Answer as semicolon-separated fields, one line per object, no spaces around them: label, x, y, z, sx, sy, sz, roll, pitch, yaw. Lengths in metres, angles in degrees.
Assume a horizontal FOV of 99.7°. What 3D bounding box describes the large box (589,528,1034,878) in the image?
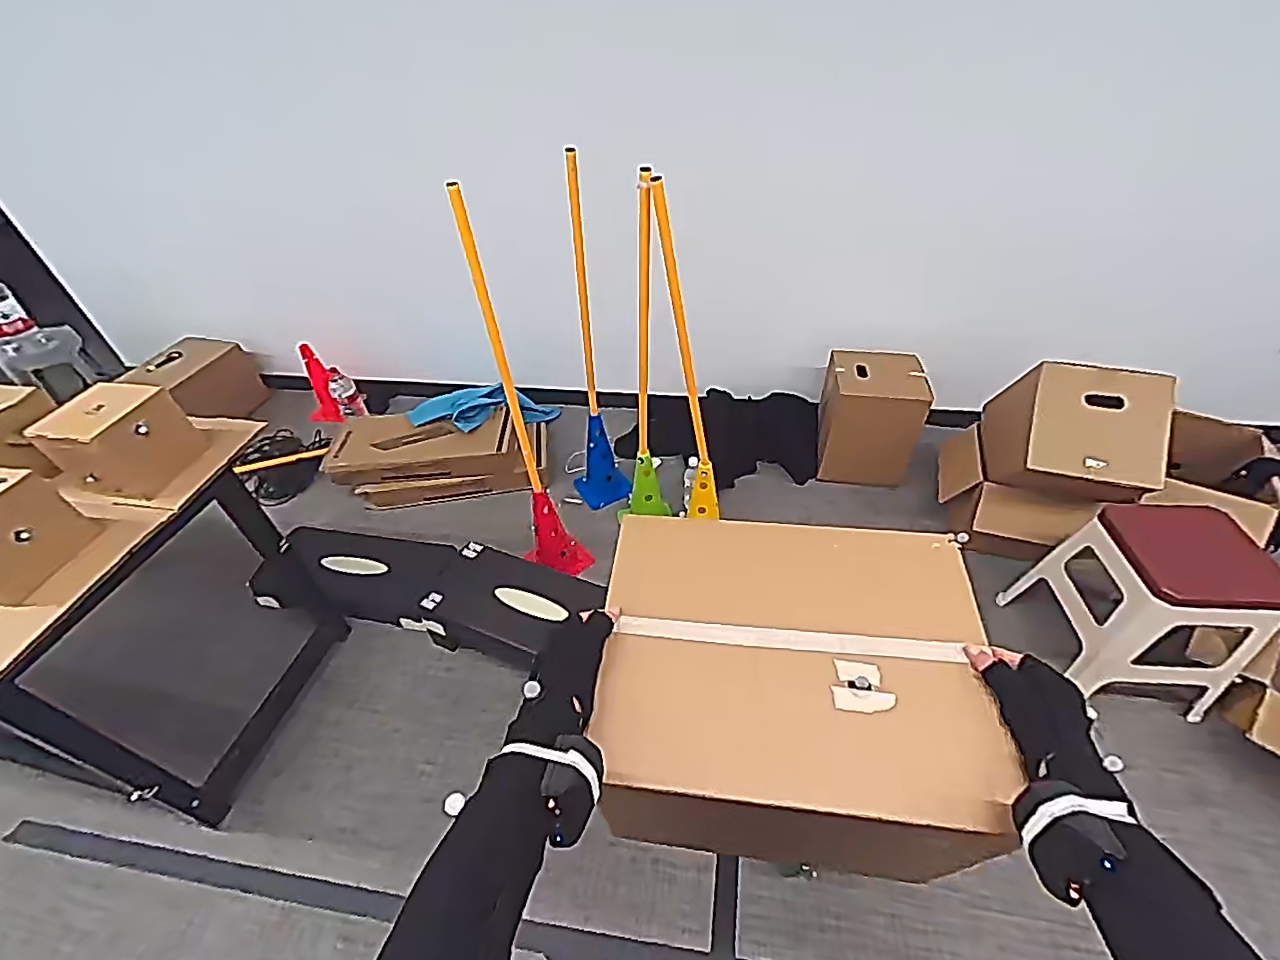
large box;0.170;0.283;0.697;0.408;0.320;0.320;3;49;8
